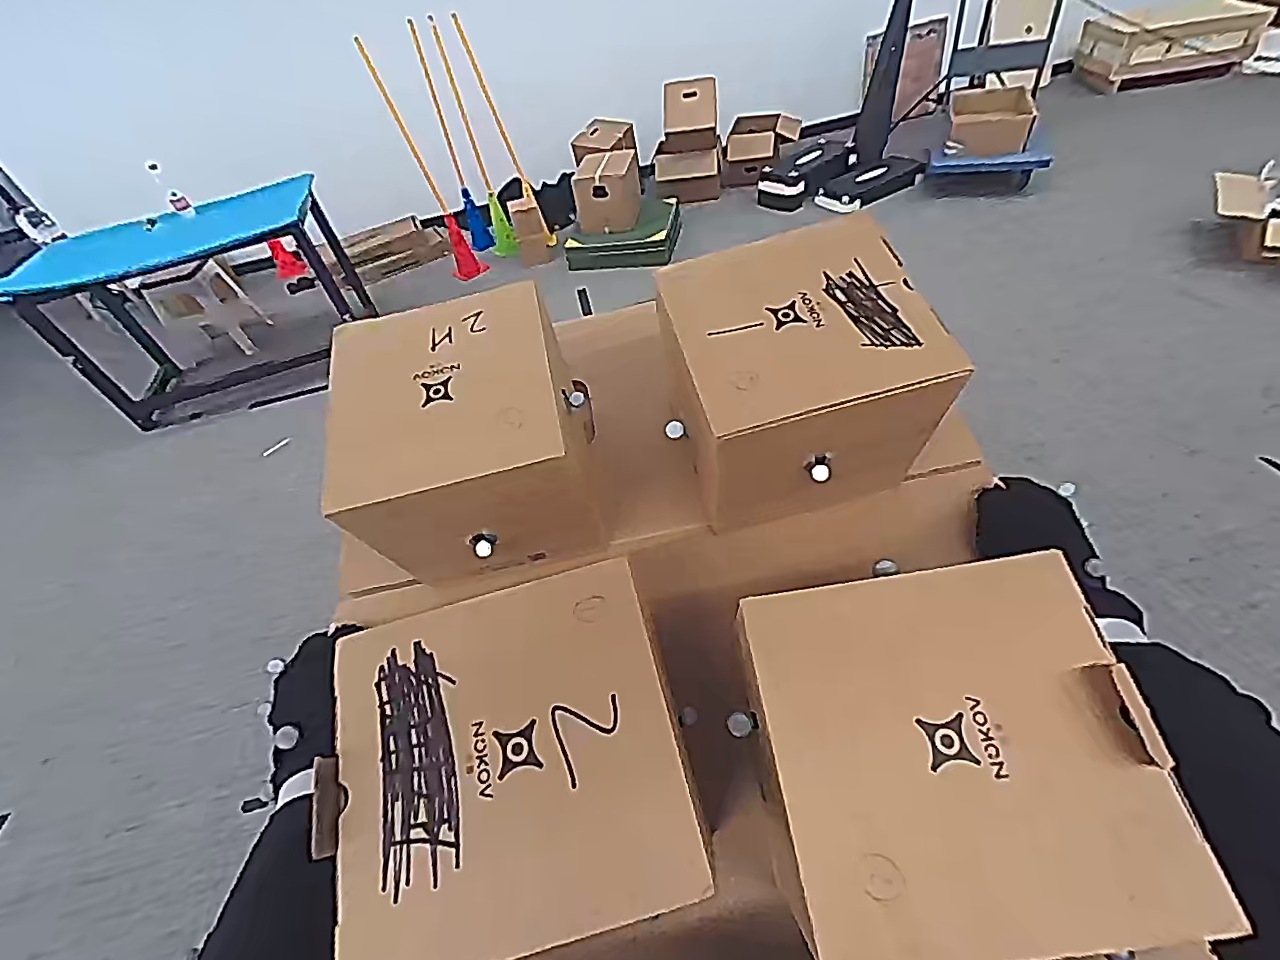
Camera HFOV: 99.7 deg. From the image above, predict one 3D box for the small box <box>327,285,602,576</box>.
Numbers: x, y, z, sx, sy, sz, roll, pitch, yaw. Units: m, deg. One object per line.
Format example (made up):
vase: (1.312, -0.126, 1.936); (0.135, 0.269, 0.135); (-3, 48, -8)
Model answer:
small box: (-0.135, -0.029, 0.465); (0.168, 0.176, 0.179); (-13, 61, 0)

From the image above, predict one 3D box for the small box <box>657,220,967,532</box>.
small box: (0.122, -0.075, 0.455); (0.179, 0.176, 0.168); (-15, 61, 1)
